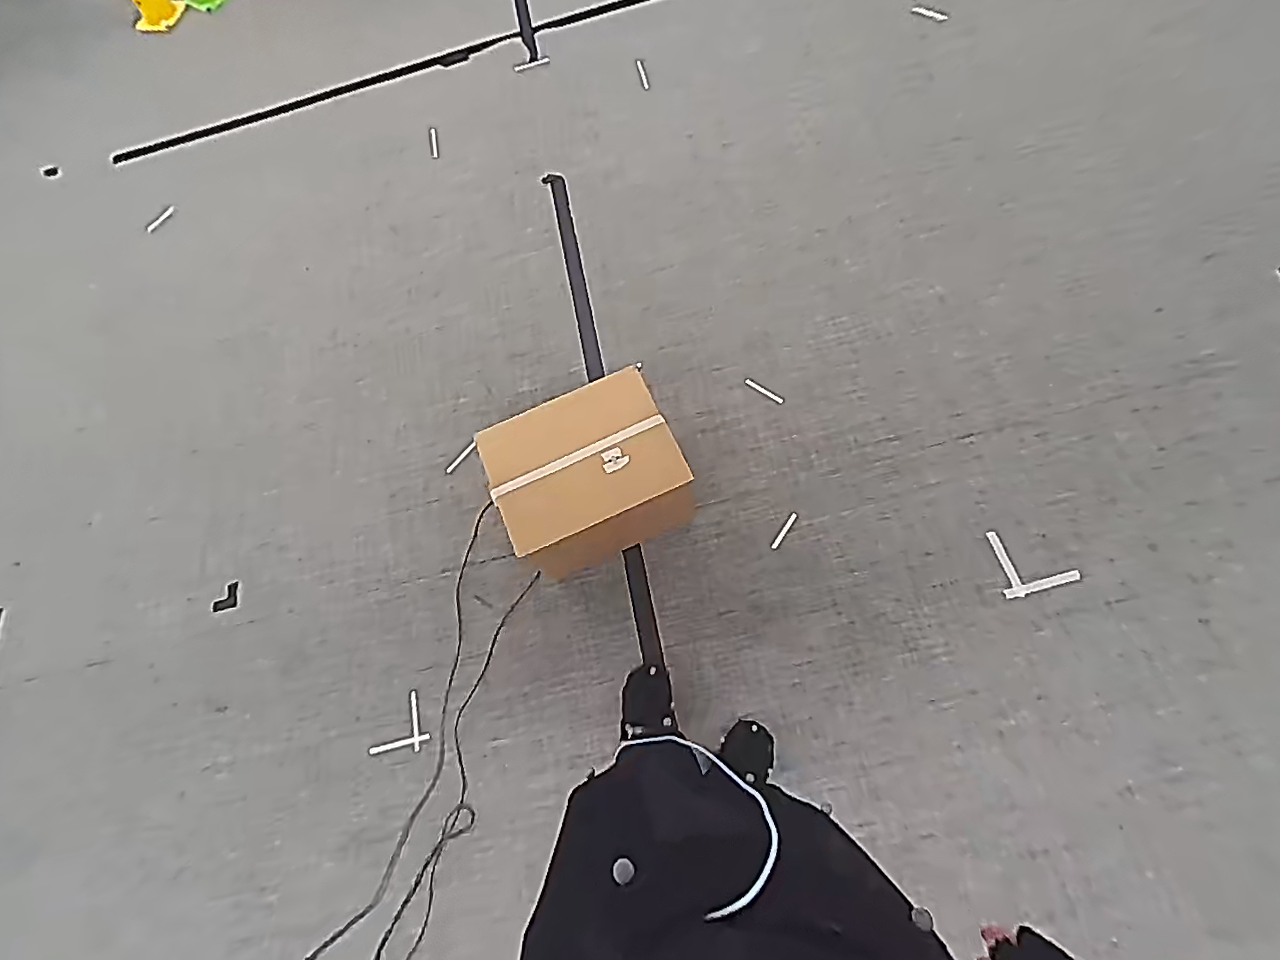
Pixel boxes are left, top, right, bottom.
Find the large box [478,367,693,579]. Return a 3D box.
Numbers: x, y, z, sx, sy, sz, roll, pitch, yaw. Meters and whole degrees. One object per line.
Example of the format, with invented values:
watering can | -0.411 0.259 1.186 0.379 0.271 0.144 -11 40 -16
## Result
large box | -0.115 0.000 1.314 0.408 0.320 0.320 -24 70 -3
